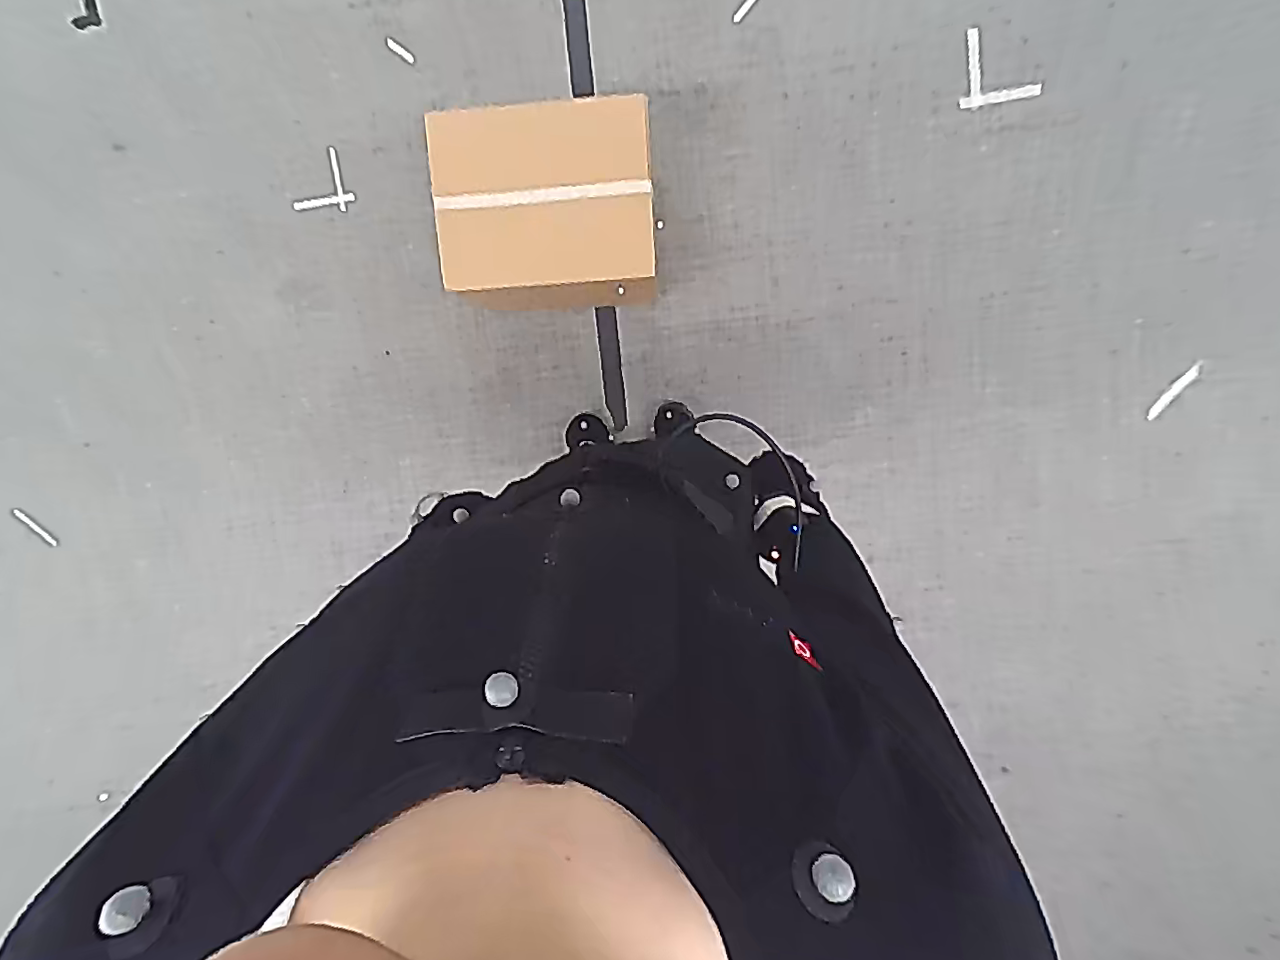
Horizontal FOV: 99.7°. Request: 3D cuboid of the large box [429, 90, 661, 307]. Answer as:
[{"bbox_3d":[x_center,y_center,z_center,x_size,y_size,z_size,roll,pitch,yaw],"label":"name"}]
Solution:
[{"bbox_3d":[-0.167,-0.554,1.137,0.408,0.320,0.320,-3,100,3],"label":"large box"}]
